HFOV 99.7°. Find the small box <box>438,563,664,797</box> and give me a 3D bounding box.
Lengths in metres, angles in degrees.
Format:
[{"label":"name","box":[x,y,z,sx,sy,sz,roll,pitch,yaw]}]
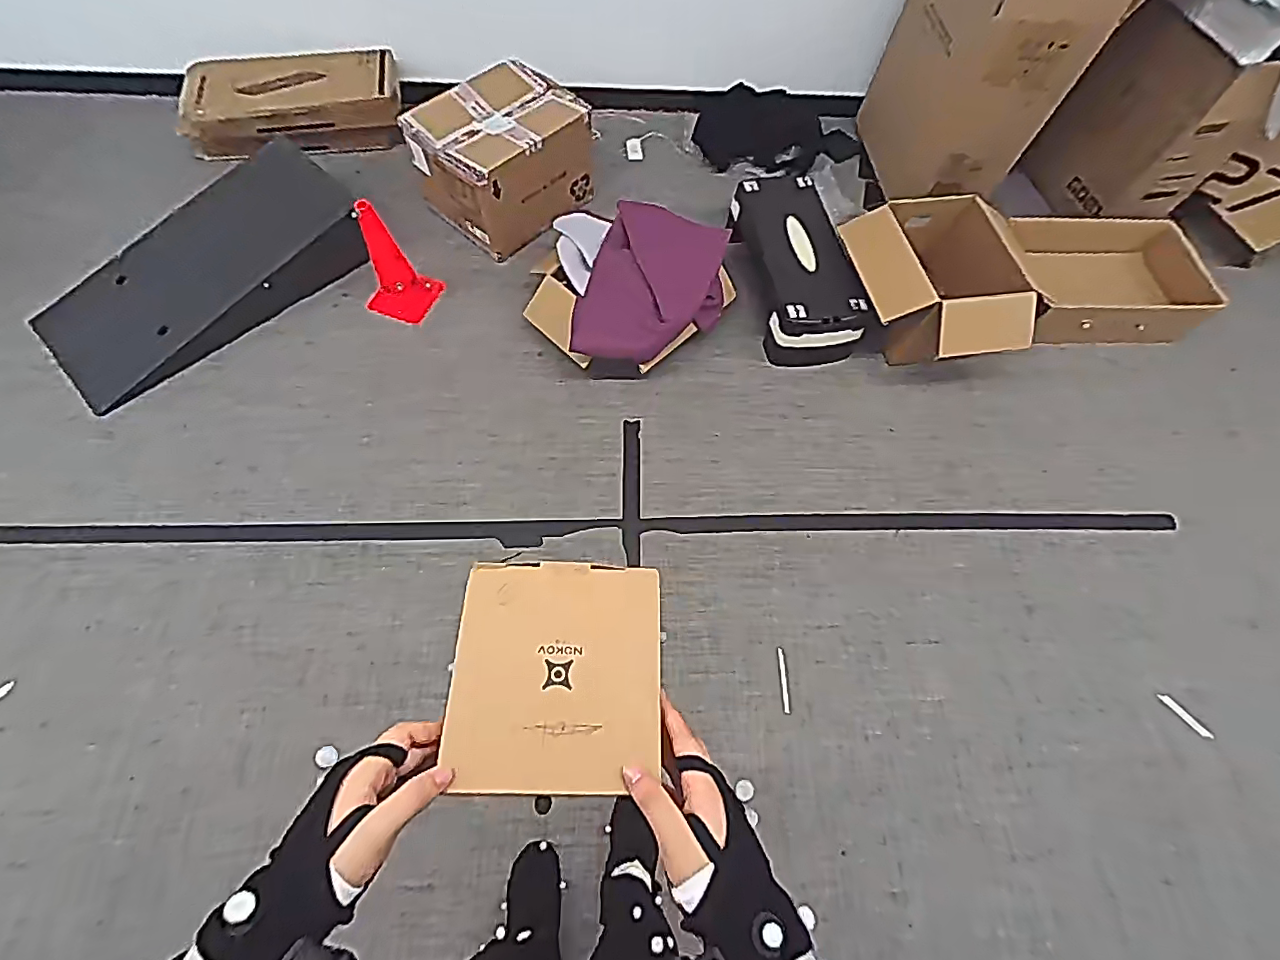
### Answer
[{"label":"small box","box":[-0.070,0.190,0.500,0.168,0.176,0.179,2,61,-4]}]
